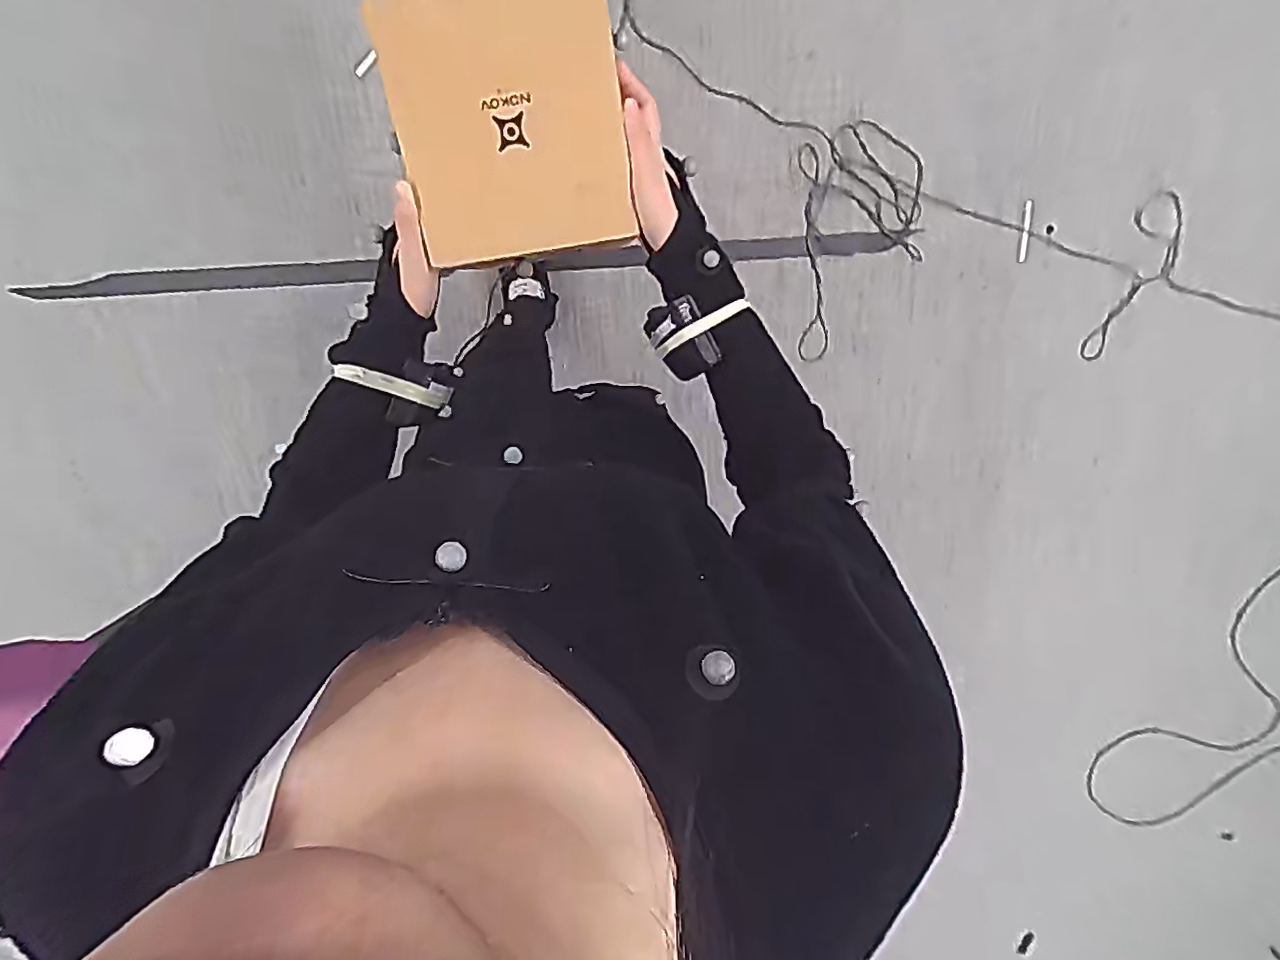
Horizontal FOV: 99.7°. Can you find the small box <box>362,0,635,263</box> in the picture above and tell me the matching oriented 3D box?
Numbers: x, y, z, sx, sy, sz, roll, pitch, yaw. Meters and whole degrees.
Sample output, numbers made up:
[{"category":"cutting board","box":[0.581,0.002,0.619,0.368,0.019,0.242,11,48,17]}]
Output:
[{"category":"small box","box":[-0.097,-0.288,0.460,0.168,0.176,0.179,-9,110,0]}]
